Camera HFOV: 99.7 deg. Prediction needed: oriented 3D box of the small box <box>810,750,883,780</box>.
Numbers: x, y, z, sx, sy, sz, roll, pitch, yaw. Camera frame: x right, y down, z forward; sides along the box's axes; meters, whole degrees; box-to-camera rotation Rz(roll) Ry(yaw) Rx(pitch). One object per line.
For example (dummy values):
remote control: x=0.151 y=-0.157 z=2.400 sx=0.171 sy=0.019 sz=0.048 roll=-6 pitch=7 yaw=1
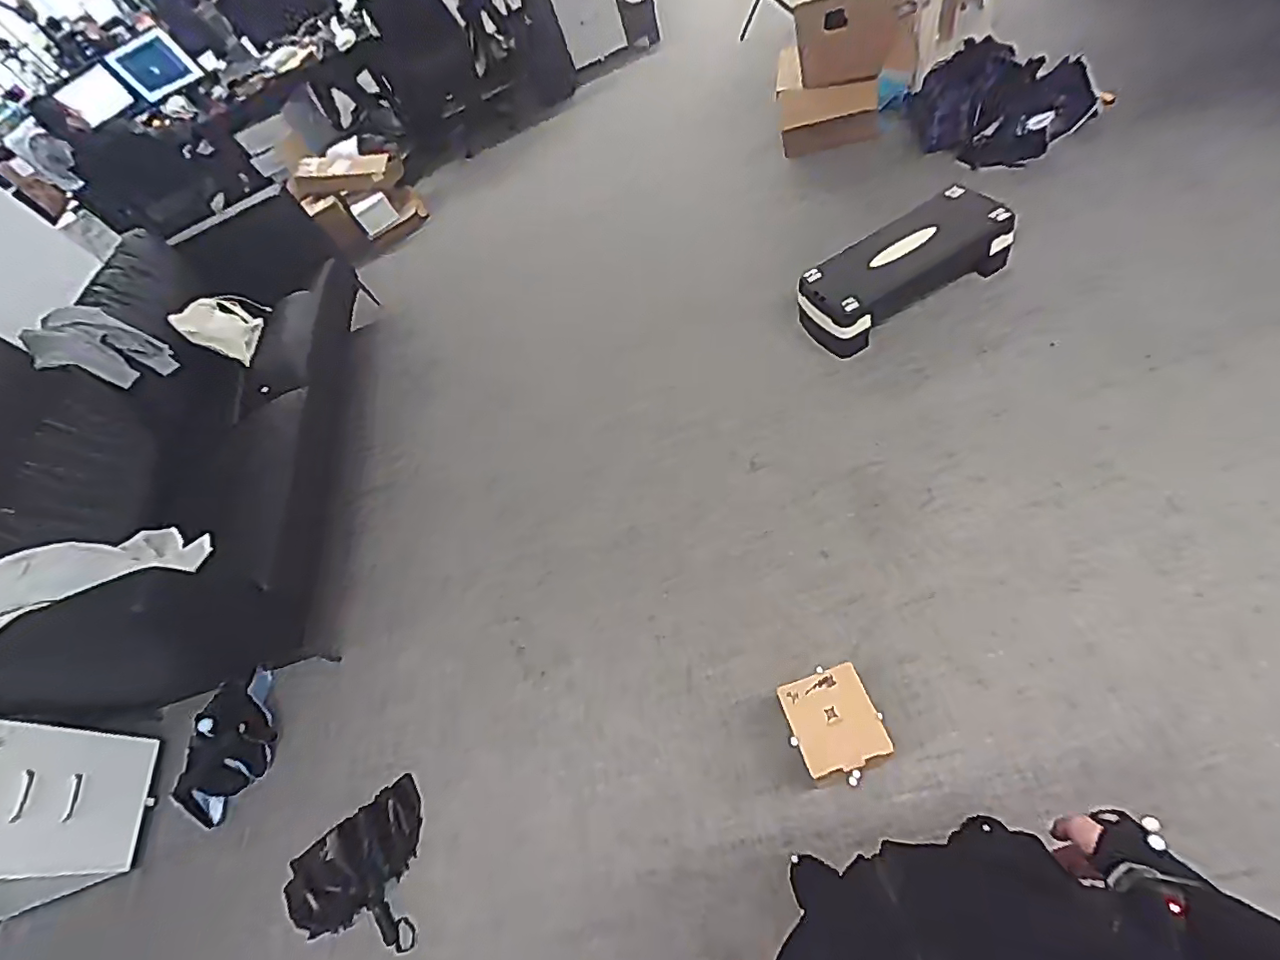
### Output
small box: x=0.445 y=0.584 z=1.268 sx=0.168 sy=0.176 sz=0.179 roll=-24 pitch=55 yaw=6

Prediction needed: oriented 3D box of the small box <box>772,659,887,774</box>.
small box: x=0.397 y=0.502 z=1.136 sx=0.168 sy=0.176 sz=0.179 roll=-23 pitch=55 yaw=7
